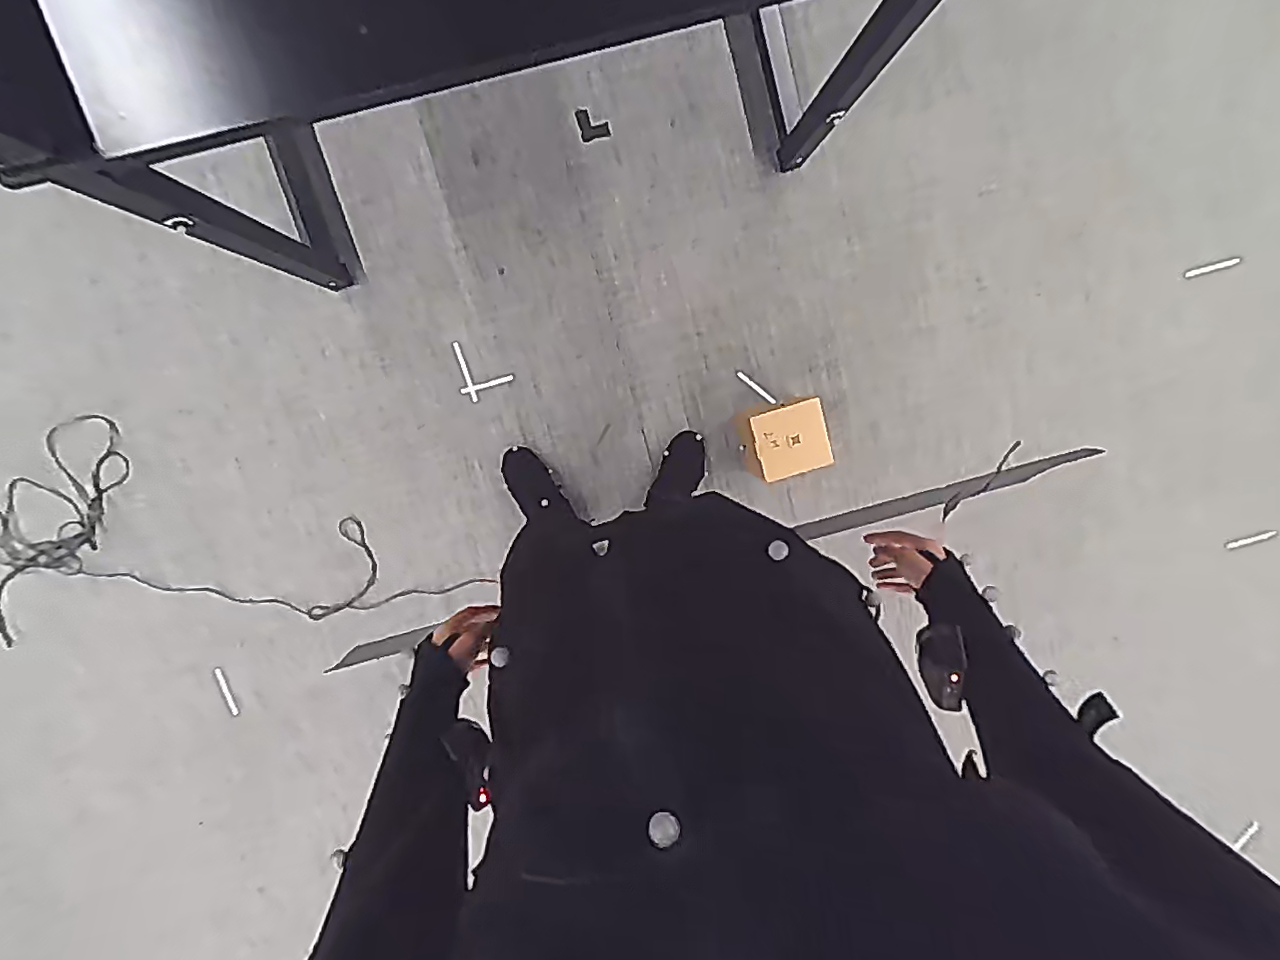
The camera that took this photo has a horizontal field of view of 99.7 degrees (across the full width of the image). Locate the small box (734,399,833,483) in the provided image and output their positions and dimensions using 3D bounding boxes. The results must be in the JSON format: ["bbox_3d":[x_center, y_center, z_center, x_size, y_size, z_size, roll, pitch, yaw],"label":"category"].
[{"bbox_3d":[0.355,-0.105,1.359,0.179,0.176,0.168,-17,100,-1],"label":"small box"}]
